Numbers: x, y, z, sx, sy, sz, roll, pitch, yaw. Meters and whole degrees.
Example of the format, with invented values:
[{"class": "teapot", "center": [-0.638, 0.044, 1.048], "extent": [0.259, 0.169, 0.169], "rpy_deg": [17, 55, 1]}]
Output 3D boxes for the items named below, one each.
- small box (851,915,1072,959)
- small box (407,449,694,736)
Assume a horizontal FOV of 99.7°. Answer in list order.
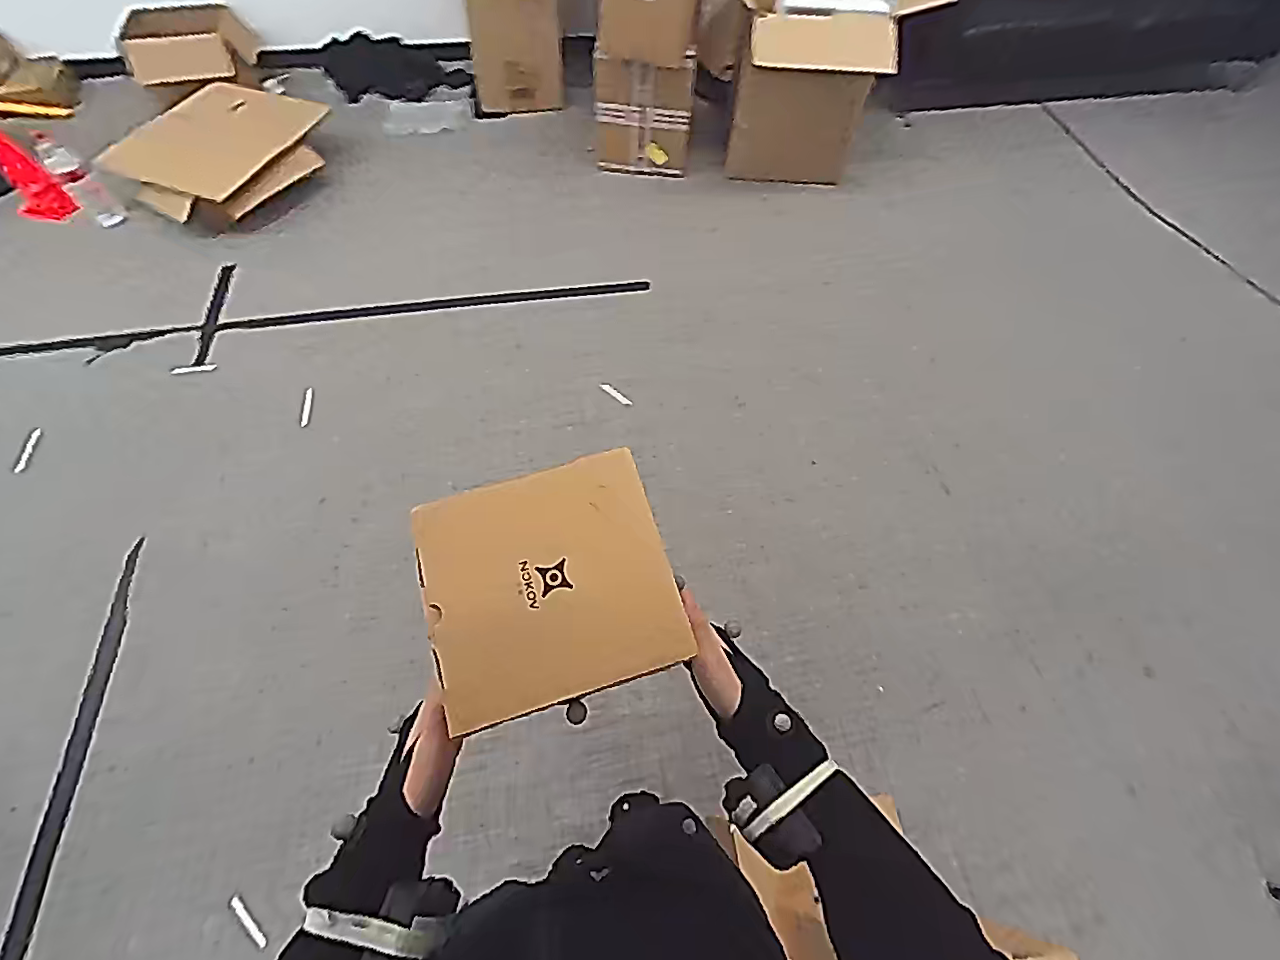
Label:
[{"class": "small box", "center": [0.339, 0.572, 0.542], "extent": [0.168, 0.176, 0.179], "rpy_deg": [-5, 60, -4]}, {"class": "small box", "center": [-0.069, 0.097, 0.467], "extent": [0.179, 0.176, 0.168], "rpy_deg": [-18, 72, -5]}]
